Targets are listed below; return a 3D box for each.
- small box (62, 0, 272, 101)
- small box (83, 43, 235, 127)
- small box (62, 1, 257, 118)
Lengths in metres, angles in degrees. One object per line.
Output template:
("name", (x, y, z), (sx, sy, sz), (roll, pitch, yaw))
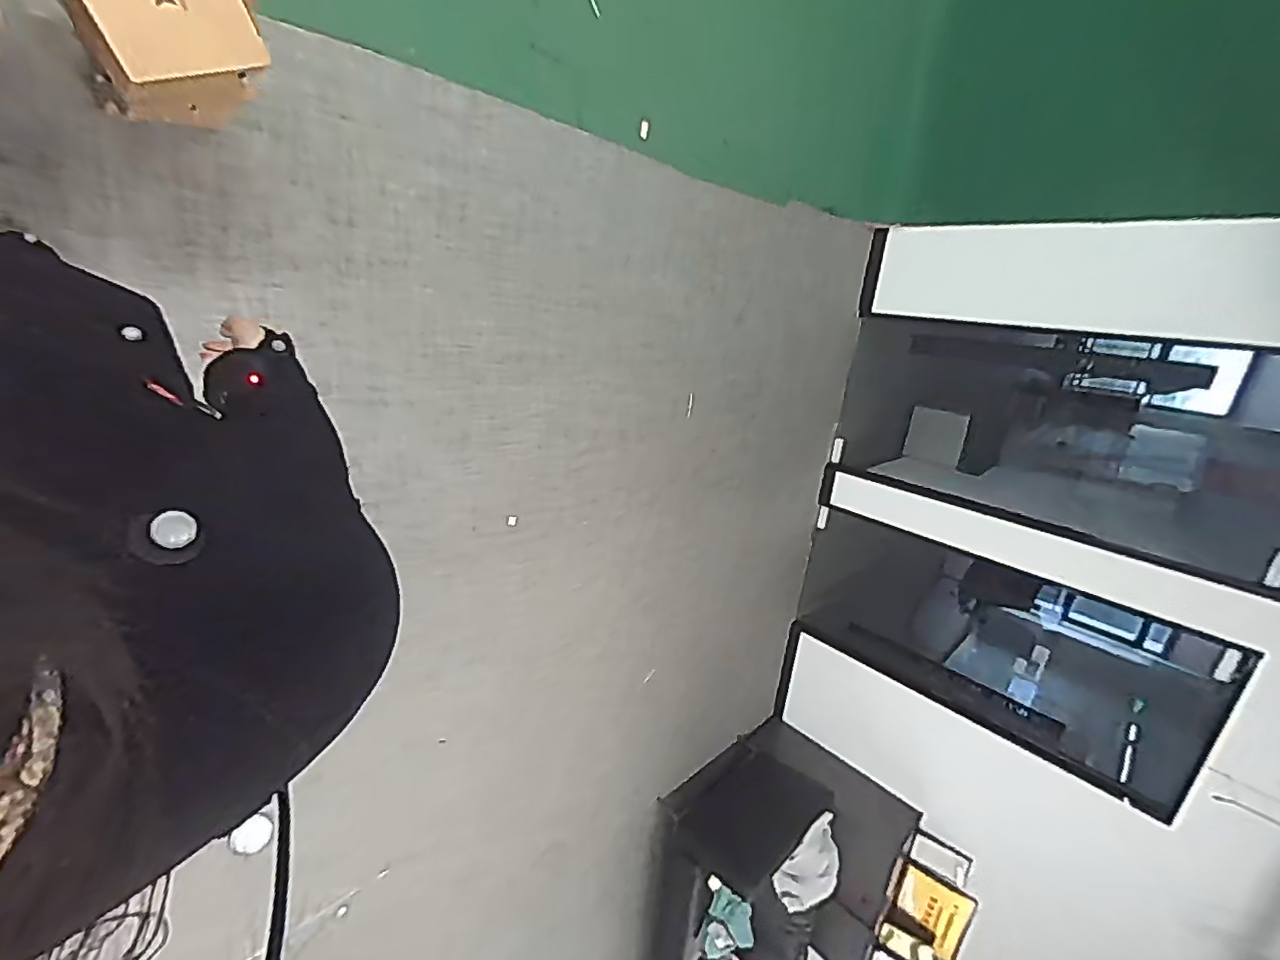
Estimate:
("small box", (-0.640, -0.624, 0.716), (0.179, 0.176, 0.168), (-38, 132, -30))
("small box", (-0.847, -0.732, 0.944), (0.179, 0.176, 0.168), (-20, 122, -40))
("small box", (-0.742, -0.672, 0.836), (0.179, 0.176, 0.168), (-33, 131, -33))
